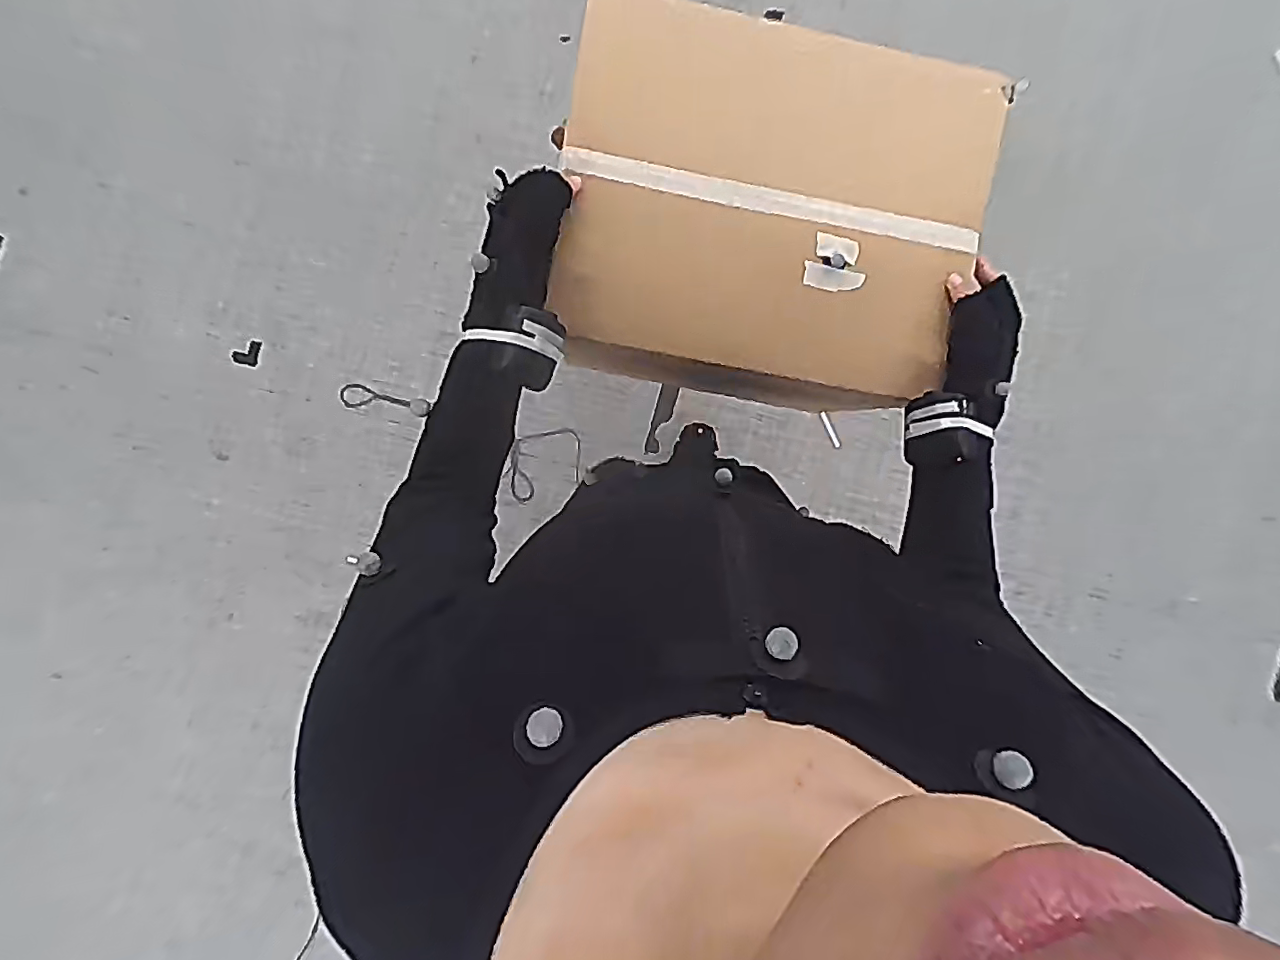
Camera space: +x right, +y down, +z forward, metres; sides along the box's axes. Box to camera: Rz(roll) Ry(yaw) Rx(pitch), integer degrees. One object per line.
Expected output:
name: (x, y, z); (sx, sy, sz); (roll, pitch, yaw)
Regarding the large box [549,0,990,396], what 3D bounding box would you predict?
large box: (0.116, -0.294, 0.676); (0.408, 0.320, 0.320); (9, 96, -4)
